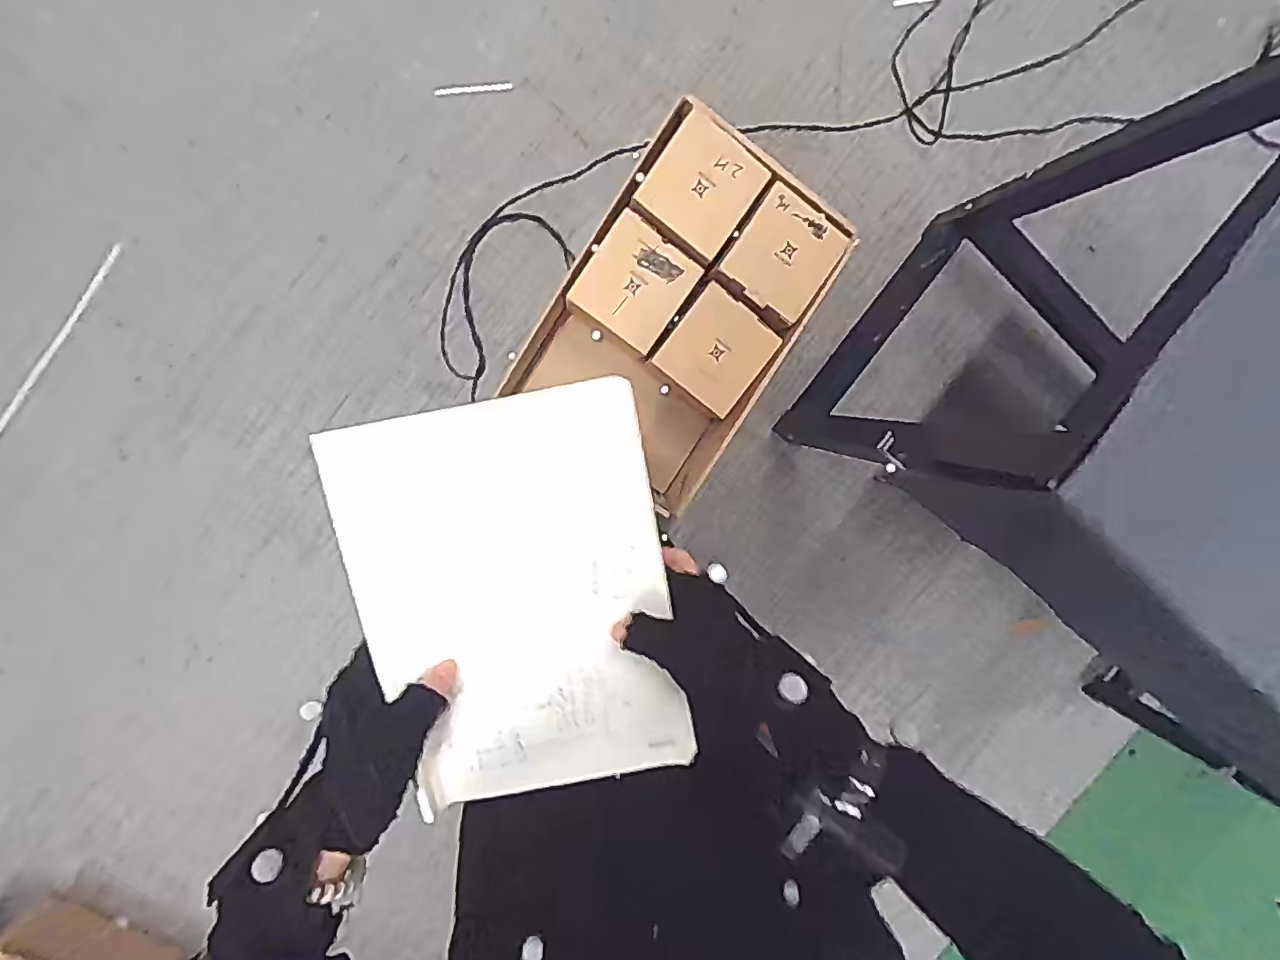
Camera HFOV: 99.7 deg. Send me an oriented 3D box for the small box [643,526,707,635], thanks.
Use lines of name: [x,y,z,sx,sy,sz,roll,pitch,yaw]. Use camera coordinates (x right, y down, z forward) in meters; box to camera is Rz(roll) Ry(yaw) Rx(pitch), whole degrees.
small box: [0.034,0.207,1.121,0.168,0.176,0.179,4,67,24]
